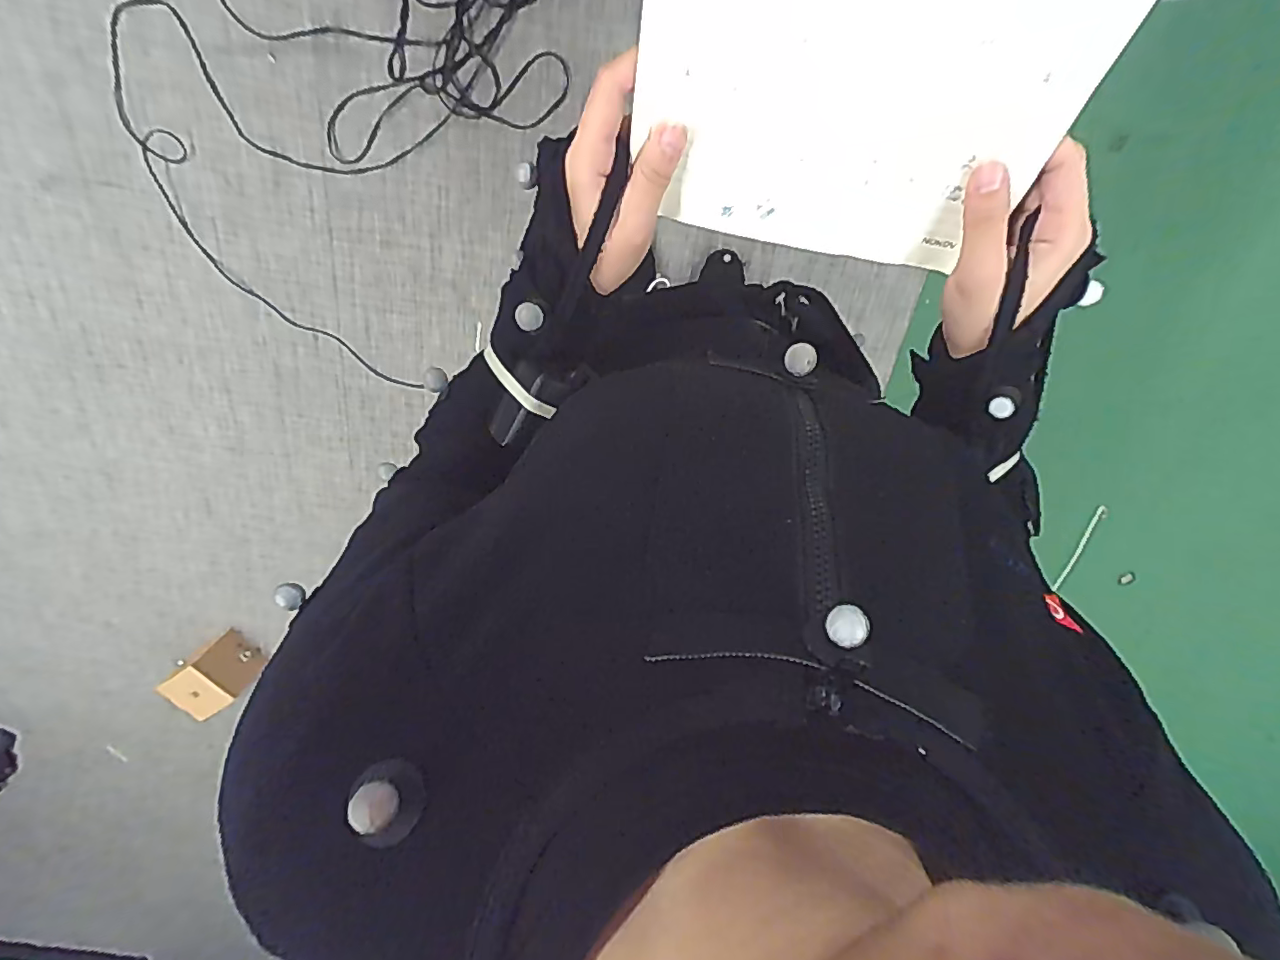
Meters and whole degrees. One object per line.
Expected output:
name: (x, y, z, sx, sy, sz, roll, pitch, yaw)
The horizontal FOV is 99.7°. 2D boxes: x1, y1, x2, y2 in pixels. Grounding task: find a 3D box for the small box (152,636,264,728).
small box: (-1.323, 0.621, 1.671, 0.179, 0.176, 0.168, -32, 110, 15)
